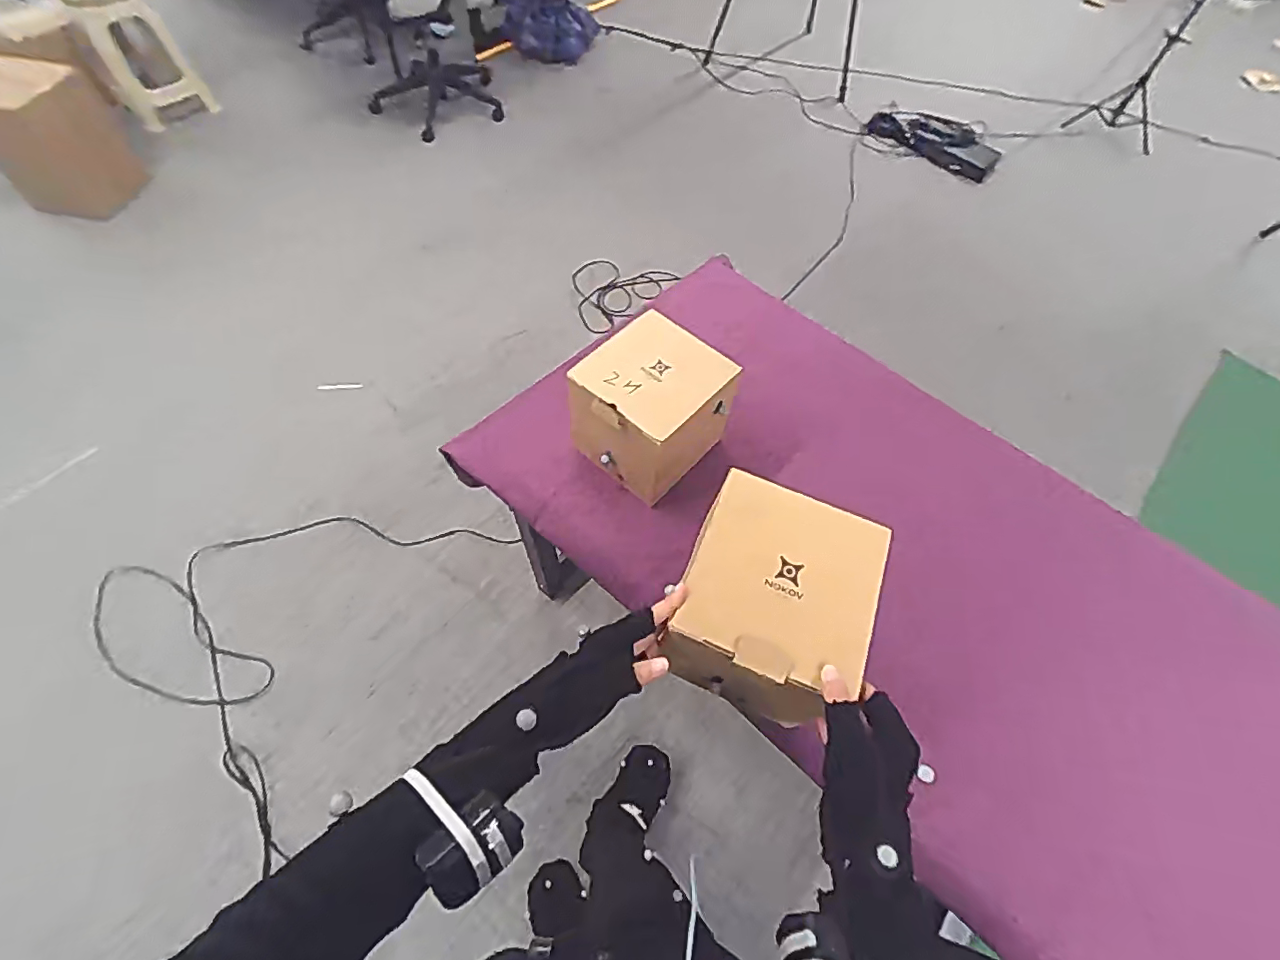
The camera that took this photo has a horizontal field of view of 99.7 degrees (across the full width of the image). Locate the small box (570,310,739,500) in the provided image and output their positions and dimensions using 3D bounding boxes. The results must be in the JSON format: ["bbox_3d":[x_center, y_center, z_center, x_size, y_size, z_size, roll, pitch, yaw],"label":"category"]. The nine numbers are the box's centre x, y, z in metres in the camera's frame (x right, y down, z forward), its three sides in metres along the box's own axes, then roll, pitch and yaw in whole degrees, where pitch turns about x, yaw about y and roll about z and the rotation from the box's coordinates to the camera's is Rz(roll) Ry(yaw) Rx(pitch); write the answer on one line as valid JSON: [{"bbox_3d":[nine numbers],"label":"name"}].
[{"bbox_3d":[0.015,-0.105,0.792,0.168,0.176,0.179,38,65,18],"label":"small box"}]

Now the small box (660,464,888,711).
[{"bbox_3d":[0.128,0.119,0.567,0.168,0.176,0.179,22,63,7],"label":"small box"}]
